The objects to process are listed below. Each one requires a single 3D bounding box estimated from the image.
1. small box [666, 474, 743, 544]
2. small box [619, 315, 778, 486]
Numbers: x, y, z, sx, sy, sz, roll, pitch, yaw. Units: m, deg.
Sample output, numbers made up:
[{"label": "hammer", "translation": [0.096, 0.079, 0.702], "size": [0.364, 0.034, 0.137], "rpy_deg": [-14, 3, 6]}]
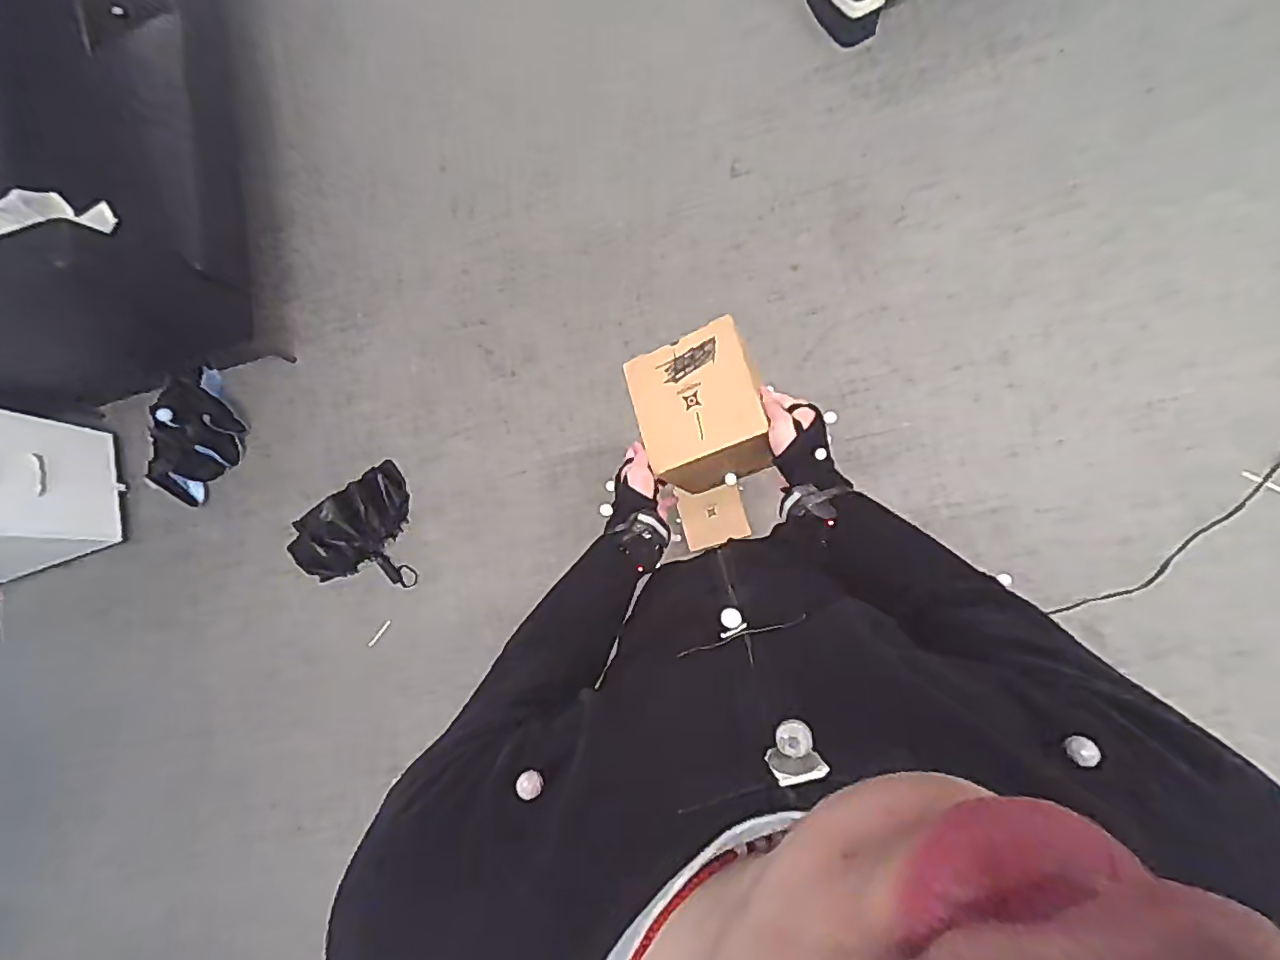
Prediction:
[{"label": "small box", "translation": [0.179, 0.072, 1.487], "size": [0.168, 0.176, 0.179], "rpy_deg": [-17, 81, 8]}, {"label": "small box", "translation": [0.092, -0.104, 0.795], "size": [0.168, 0.176, 0.179], "rpy_deg": [-19, 75, 19]}]
